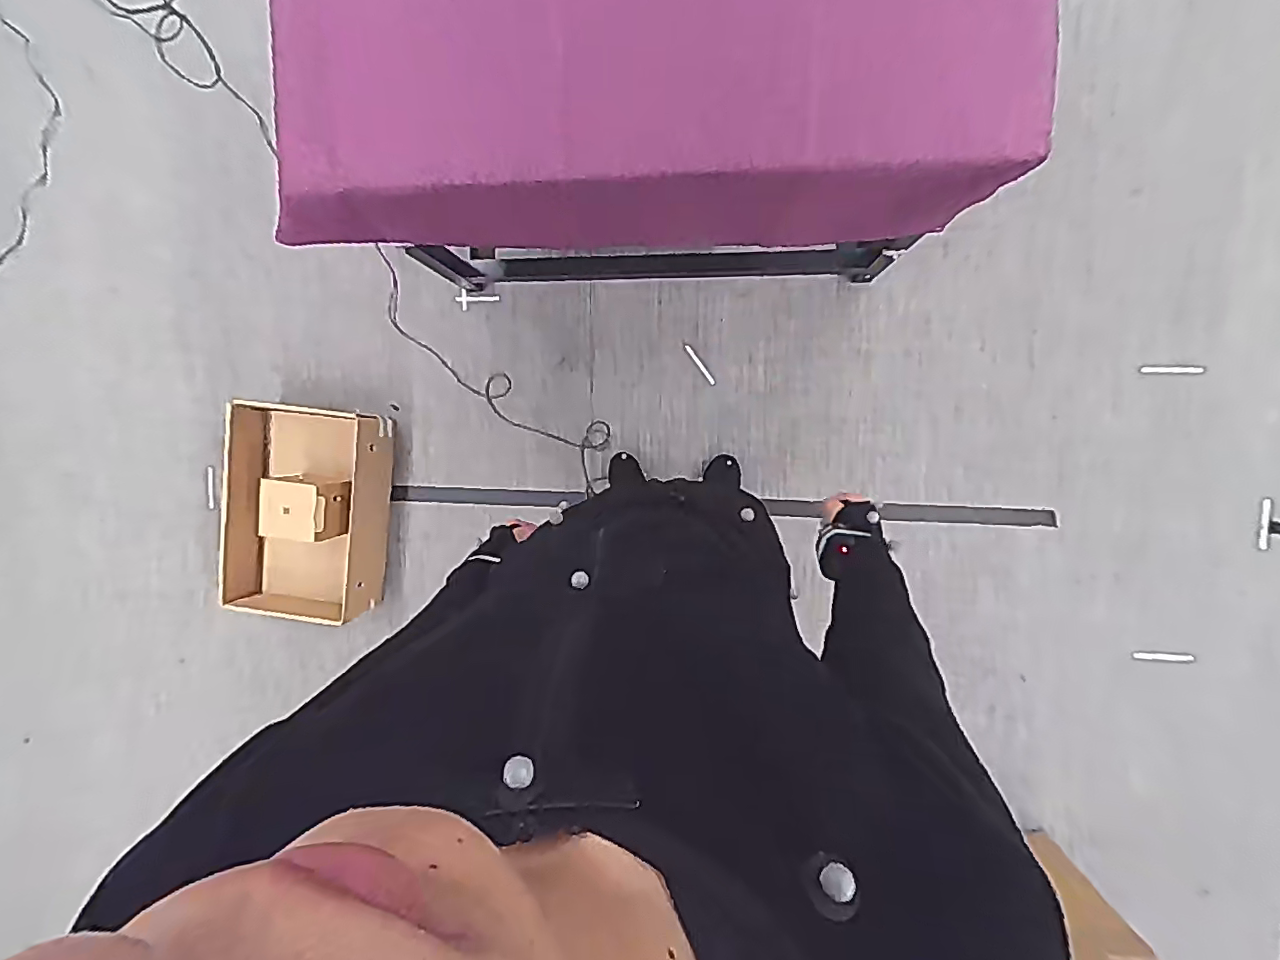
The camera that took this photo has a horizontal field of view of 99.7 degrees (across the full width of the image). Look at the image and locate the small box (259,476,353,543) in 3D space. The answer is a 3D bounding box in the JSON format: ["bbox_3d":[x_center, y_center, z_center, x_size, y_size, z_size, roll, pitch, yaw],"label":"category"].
[{"bbox_3d":[-0.978,0.080,1.596,0.179,0.176,0.168,7,95,5],"label":"small box"}]
